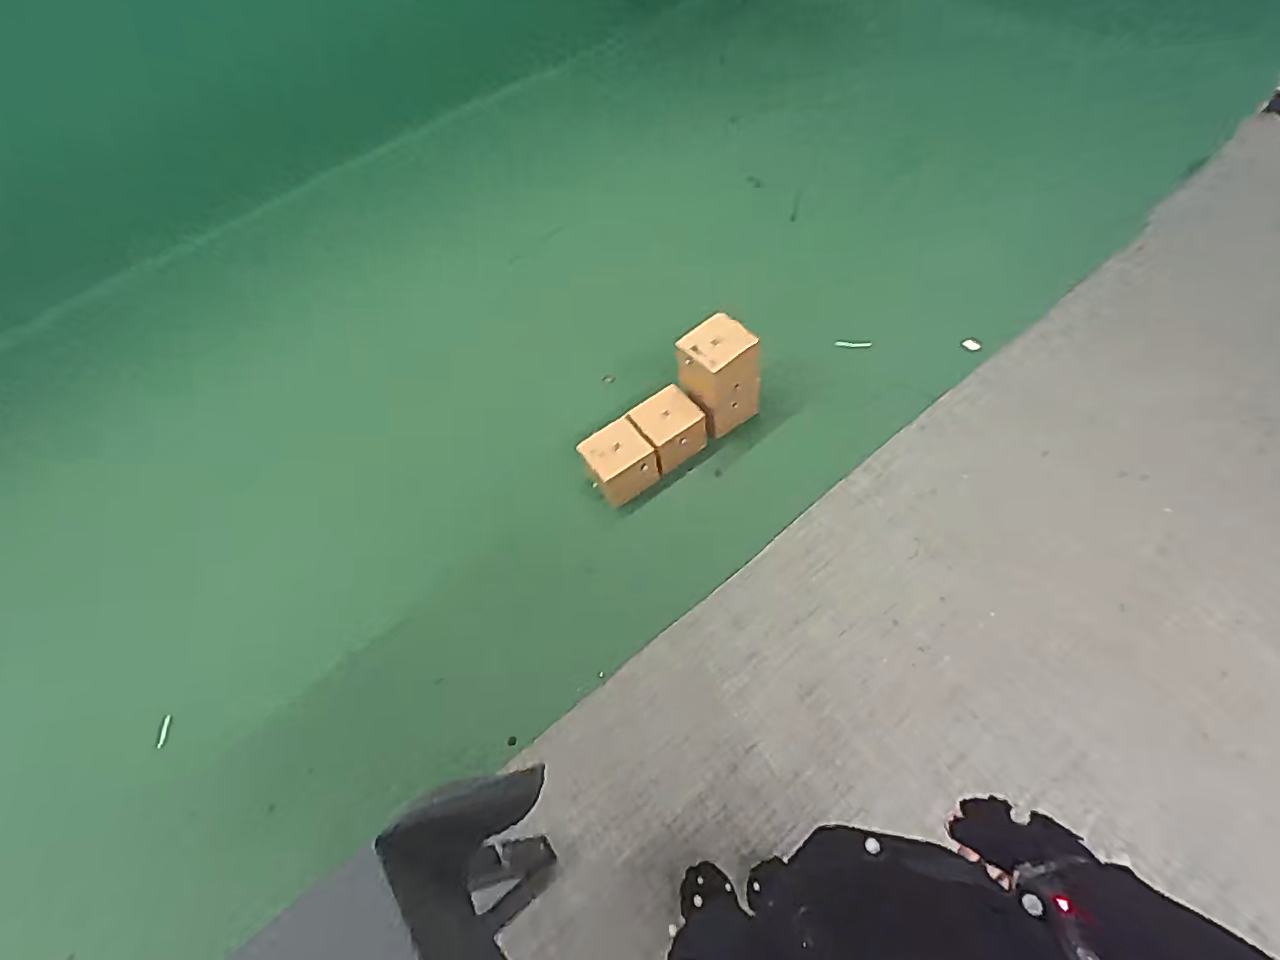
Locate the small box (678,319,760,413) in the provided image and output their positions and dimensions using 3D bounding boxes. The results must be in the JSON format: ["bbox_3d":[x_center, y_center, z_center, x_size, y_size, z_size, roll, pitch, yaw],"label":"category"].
[{"bbox_3d":[0.232,-0.334,1.602,0.179,0.176,0.168,-36,60,-14],"label":"small box"}]
